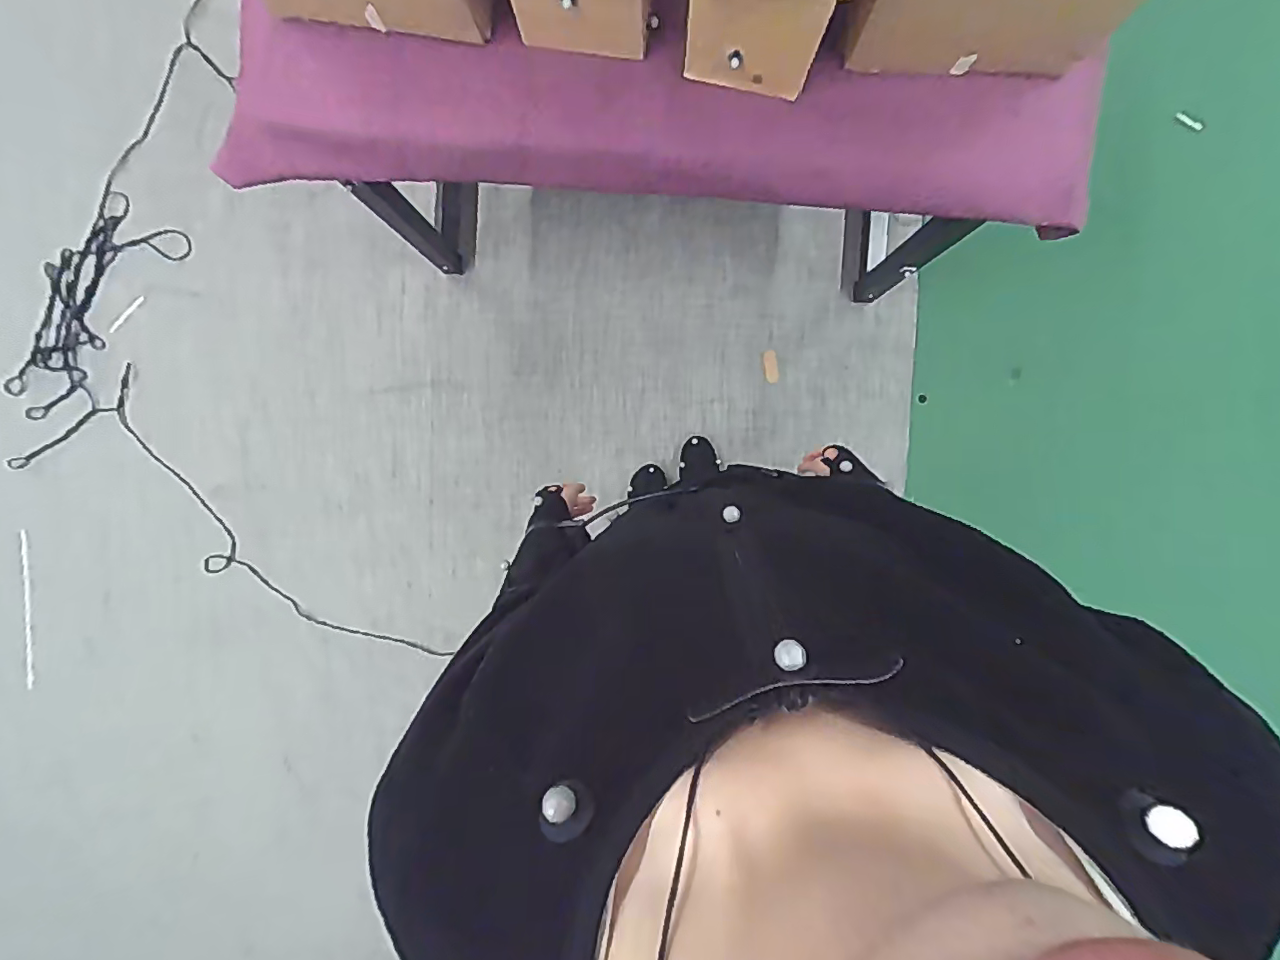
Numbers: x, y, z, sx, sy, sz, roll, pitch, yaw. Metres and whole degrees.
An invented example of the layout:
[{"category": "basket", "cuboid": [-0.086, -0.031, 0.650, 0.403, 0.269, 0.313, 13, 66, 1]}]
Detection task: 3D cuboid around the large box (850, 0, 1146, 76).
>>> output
[{"category": "large box", "cuboid": [0.444, -0.755, 0.592, 0.320, 0.320, 0.408, 3, 93, 3]}]
